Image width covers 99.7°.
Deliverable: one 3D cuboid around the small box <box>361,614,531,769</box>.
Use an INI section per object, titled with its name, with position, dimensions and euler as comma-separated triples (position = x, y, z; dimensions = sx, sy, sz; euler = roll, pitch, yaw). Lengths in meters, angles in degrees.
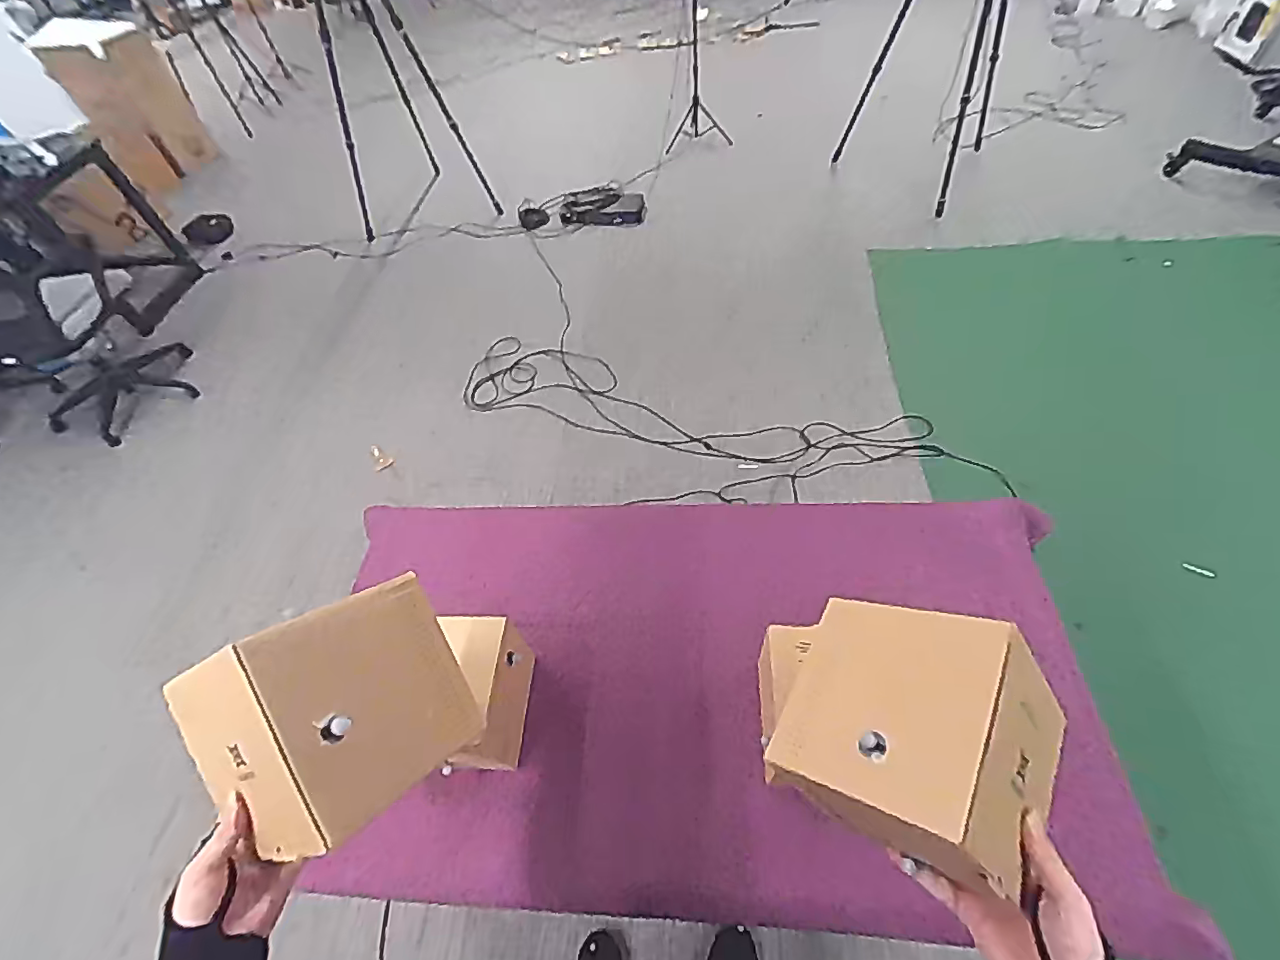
[small box]
position = -0.270, 0.315, 0.803
dimensions = 0.168, 0.176, 0.179
euler = -2, 54, 7
